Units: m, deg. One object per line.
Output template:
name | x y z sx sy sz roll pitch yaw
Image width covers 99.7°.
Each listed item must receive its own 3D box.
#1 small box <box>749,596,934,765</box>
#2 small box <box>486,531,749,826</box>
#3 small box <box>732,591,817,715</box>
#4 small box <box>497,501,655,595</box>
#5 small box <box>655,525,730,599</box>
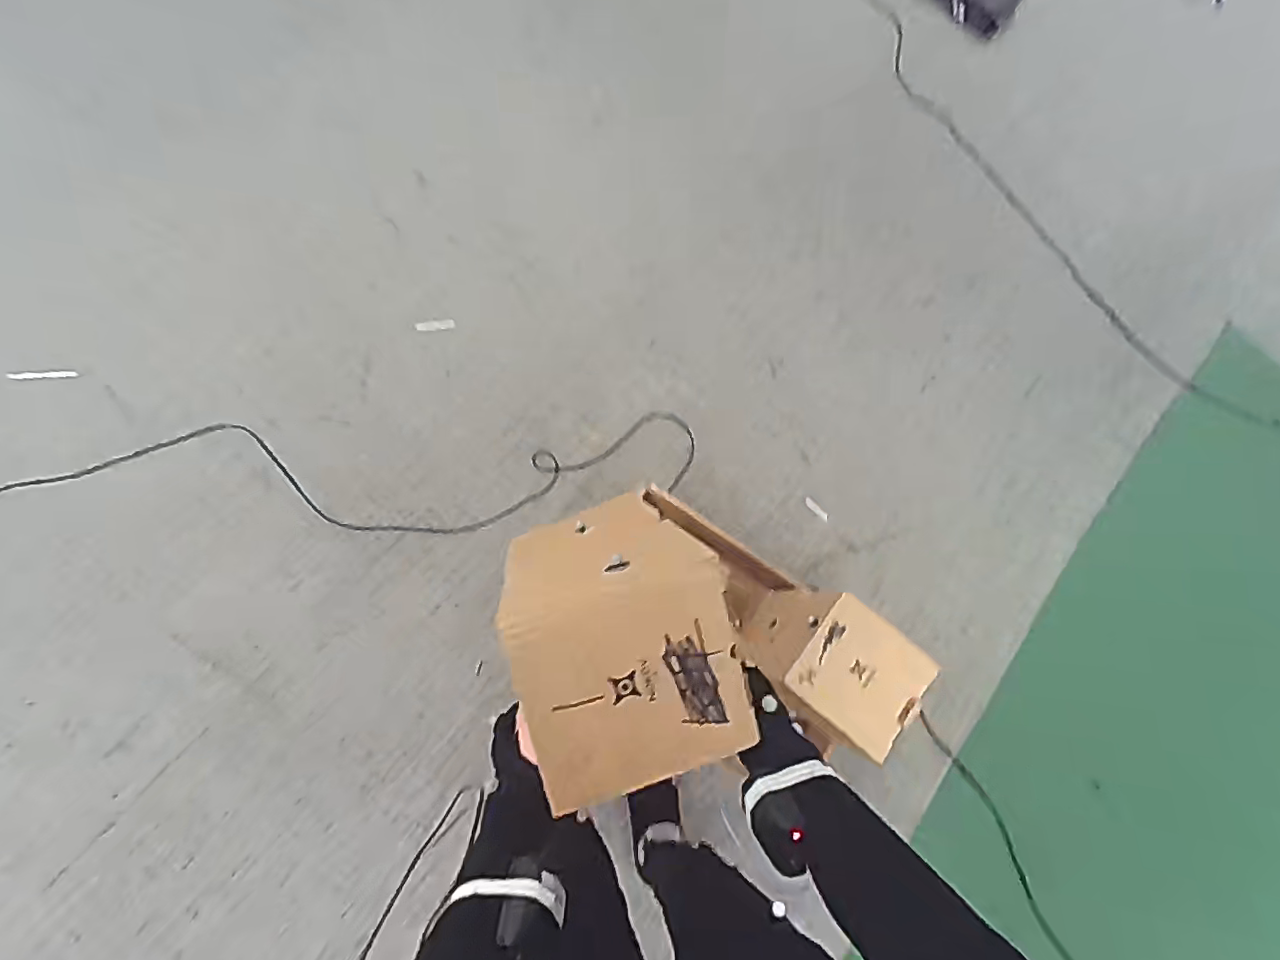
small box | 0.303 0.298 0.846 0.179 0.176 0.168 40 76 4
small box | -0.027 0.157 0.494 0.179 0.176 0.168 -17 98 -8
small box | 0.294 0.326 1.009 0.168 0.176 0.179 36 76 4
small box | -0.058 0.136 0.655 0.179 0.176 0.168 -23 99 -8
small box | 0.062 0.221 1.178 0.179 0.176 0.168 35 77 1
